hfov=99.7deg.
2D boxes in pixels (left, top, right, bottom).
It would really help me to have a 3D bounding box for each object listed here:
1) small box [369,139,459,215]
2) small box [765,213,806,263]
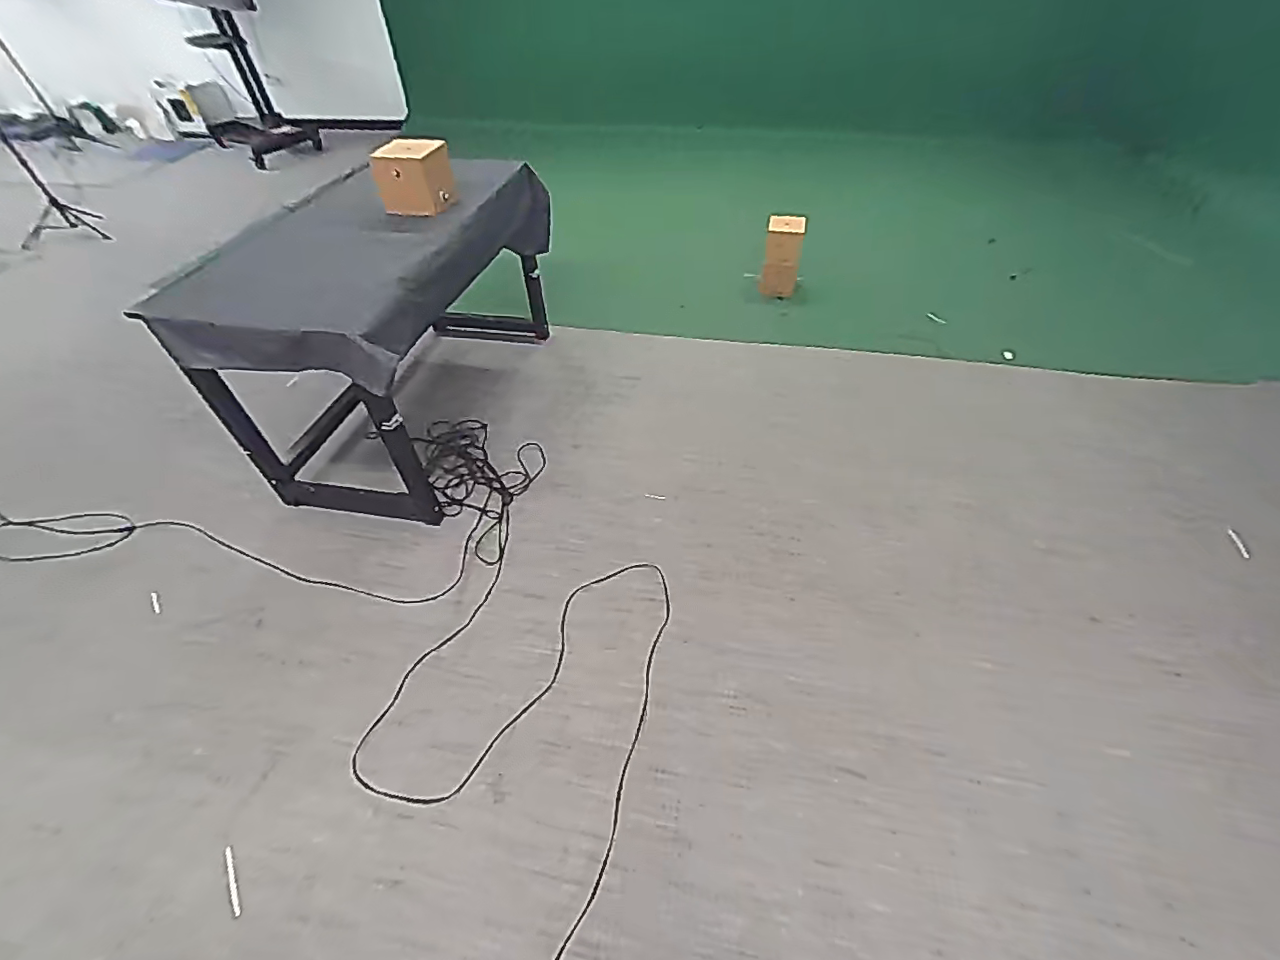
[{"bbox_3d":[-0.699,-0.946,1.689,0.179,0.176,0.168,8,49,9],"label":"small box"},{"bbox_3d":[0.696,-1.162,2.596,0.168,0.176,0.179,8,48,11],"label":"small box"}]
